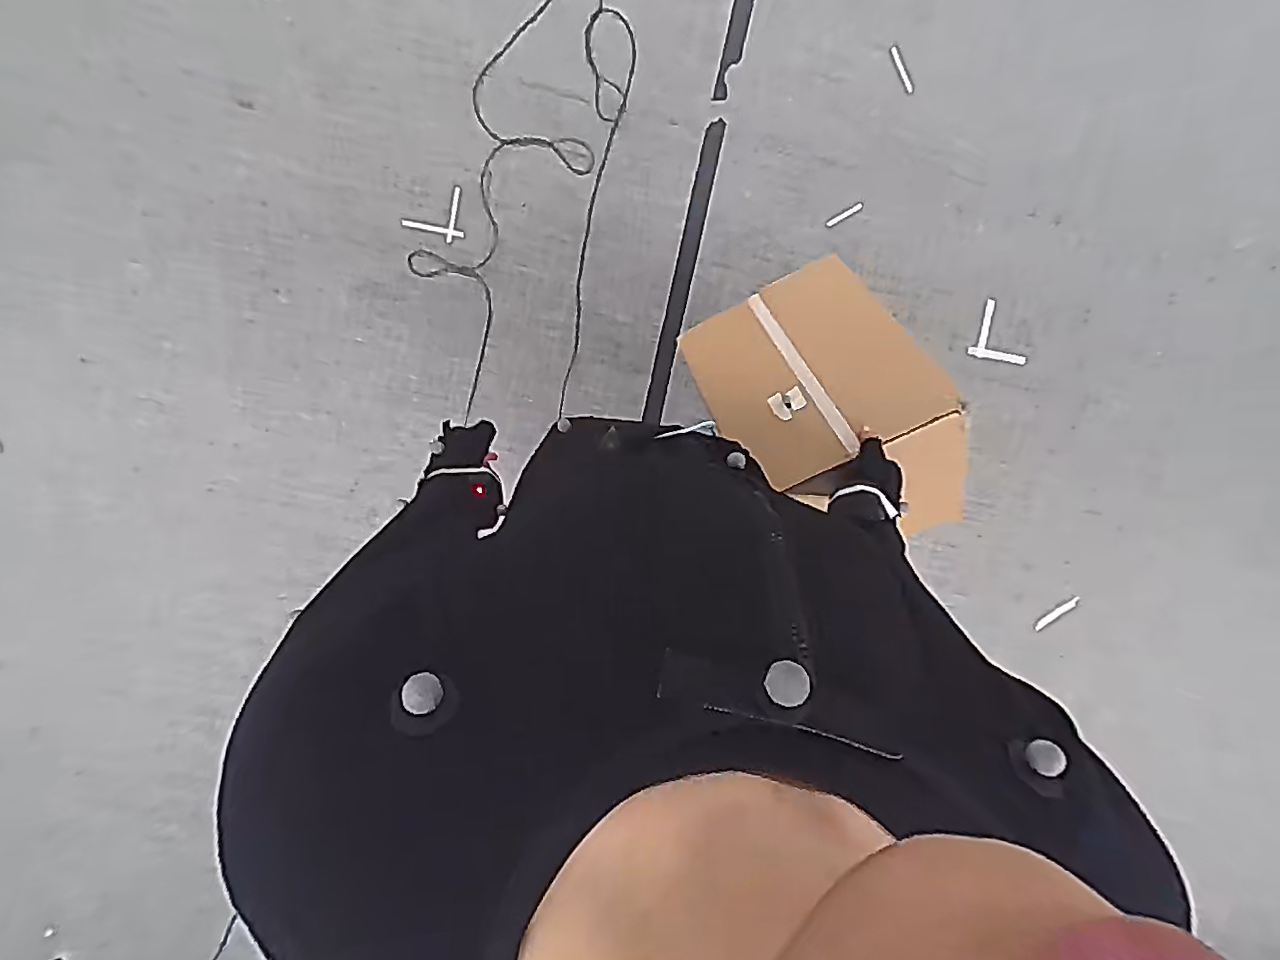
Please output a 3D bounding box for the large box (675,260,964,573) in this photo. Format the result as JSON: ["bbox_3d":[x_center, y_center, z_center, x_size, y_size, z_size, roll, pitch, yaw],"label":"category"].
[{"bbox_3d":[0.308,-0.108,0.985,0.320,0.408,0.320,-27,142,11],"label":"large box"}]
